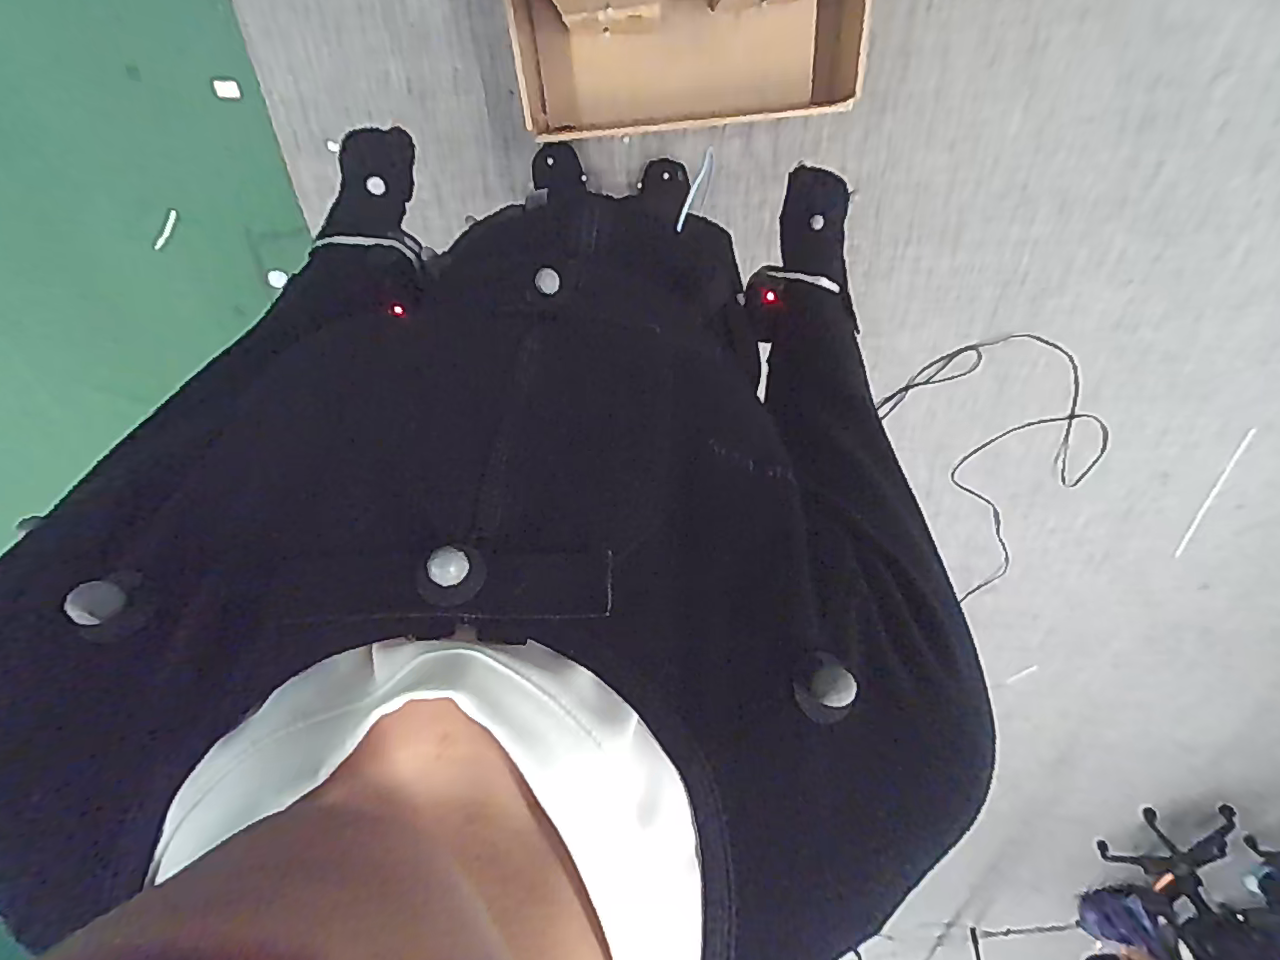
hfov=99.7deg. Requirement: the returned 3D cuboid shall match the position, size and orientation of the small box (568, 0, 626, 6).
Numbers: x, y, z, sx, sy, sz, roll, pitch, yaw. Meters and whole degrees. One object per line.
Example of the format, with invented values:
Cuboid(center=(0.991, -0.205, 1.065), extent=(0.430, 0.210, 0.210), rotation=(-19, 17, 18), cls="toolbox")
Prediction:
Cuboid(center=(-0.052, -0.810, 0.768), extent=(0.168, 0.176, 0.179), rotation=(-4, 124, 3), cls="small box")
